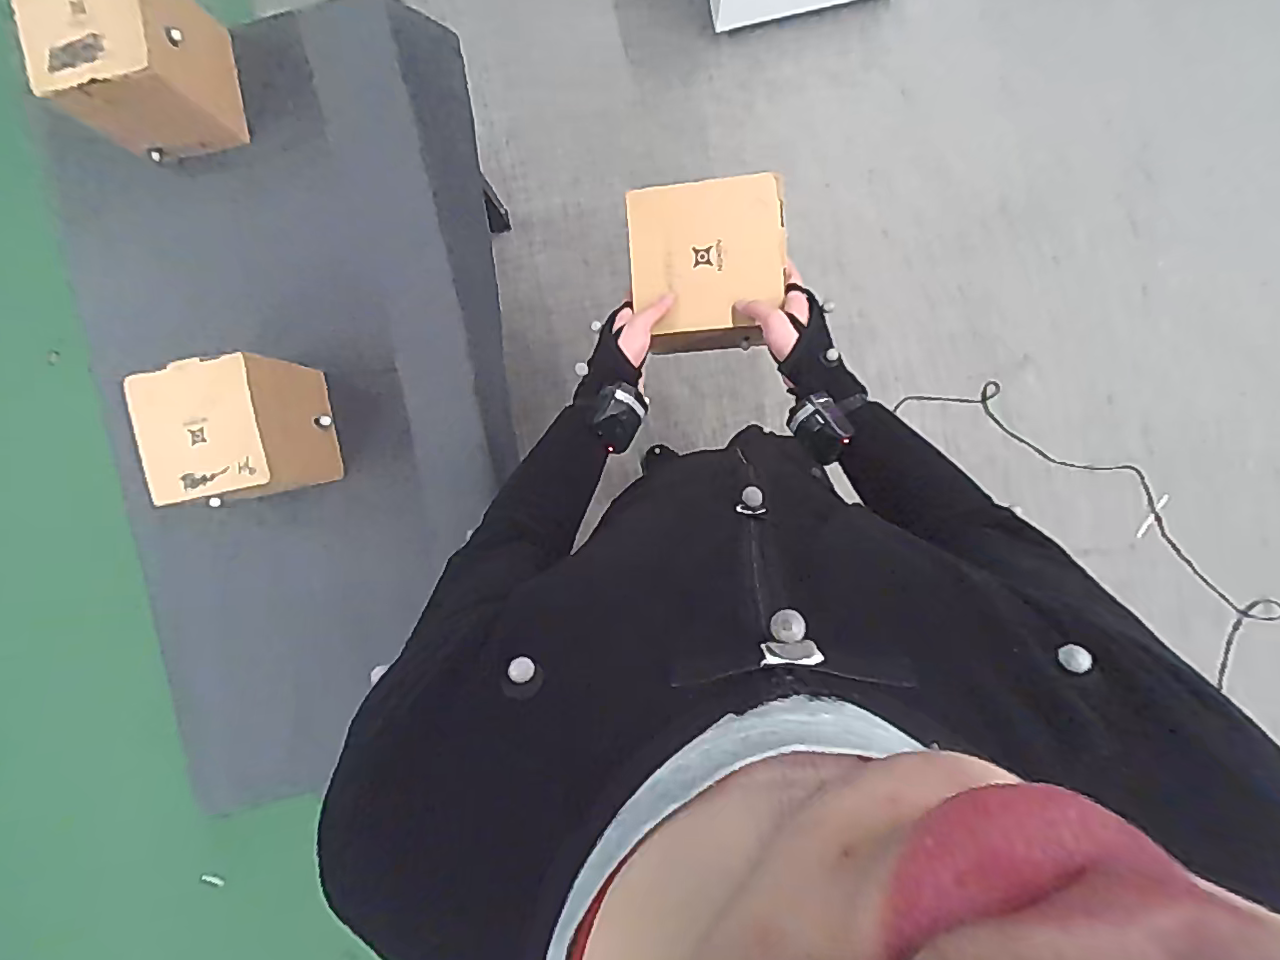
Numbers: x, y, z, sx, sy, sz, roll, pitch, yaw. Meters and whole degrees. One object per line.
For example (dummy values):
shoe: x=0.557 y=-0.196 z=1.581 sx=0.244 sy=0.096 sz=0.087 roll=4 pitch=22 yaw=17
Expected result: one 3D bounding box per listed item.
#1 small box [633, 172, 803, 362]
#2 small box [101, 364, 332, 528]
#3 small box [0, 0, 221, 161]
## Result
small box: x=0.093 y=-0.247 z=0.669 sx=0.179 sy=0.176 sz=0.168 roll=-6 pitch=93 yaw=7
small box: x=-0.558 y=-0.041 z=0.737 sx=0.168 sy=0.176 sz=0.179 roll=-13 pitch=91 yaw=1
small box: x=-0.710 y=-0.558 z=0.723 sx=0.168 sy=0.176 sz=0.179 roll=-11 pitch=91 yaw=0
